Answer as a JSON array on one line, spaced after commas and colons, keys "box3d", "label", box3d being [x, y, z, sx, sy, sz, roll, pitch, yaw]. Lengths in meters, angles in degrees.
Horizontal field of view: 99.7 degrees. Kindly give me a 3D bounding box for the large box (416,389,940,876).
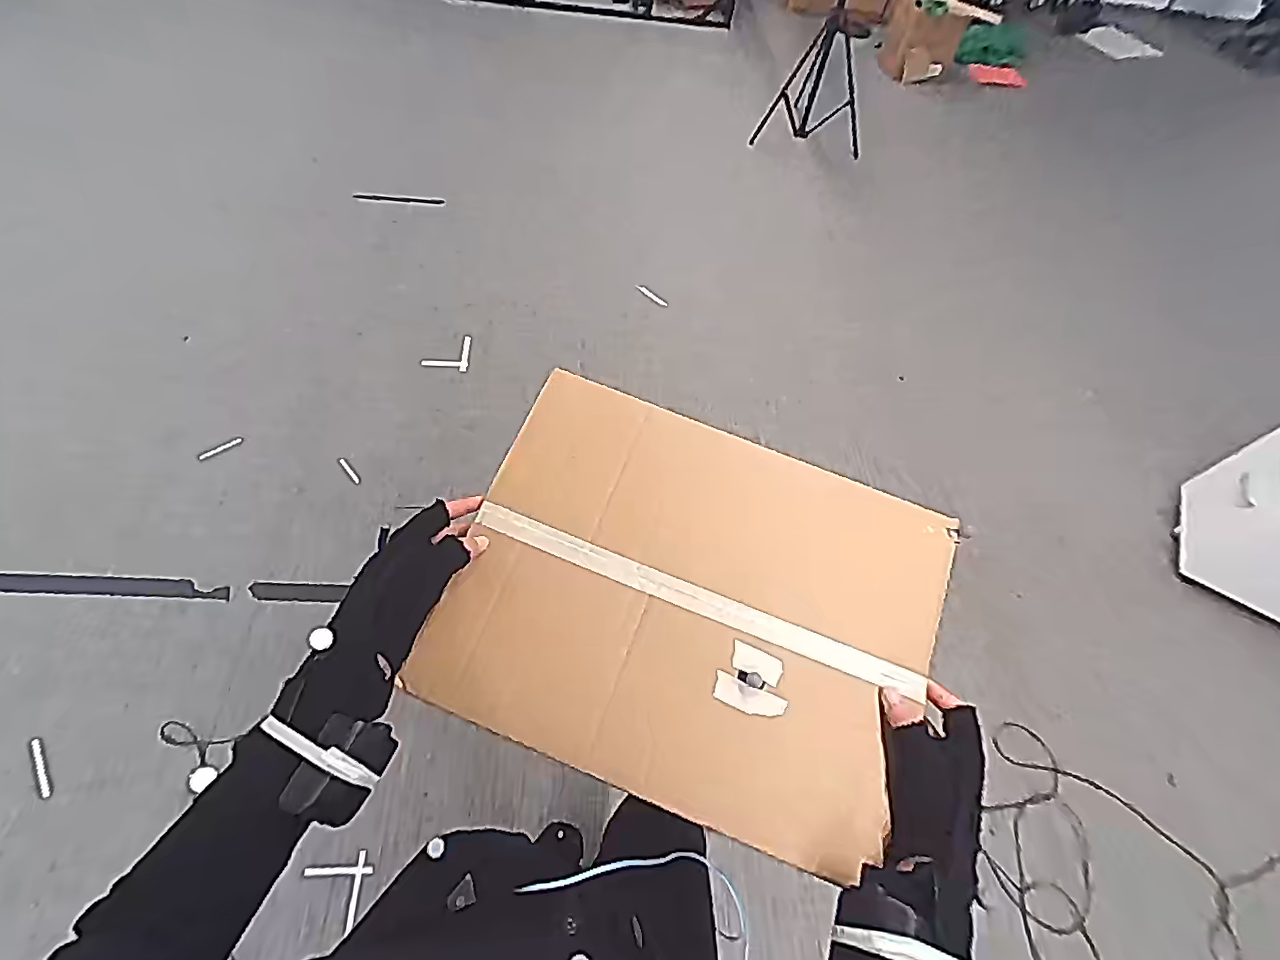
[{"box3d": [0.040, 0.155, 0.623, 0.408, 0.320, 0.320, 22, 73, 4], "label": "large box"}]
